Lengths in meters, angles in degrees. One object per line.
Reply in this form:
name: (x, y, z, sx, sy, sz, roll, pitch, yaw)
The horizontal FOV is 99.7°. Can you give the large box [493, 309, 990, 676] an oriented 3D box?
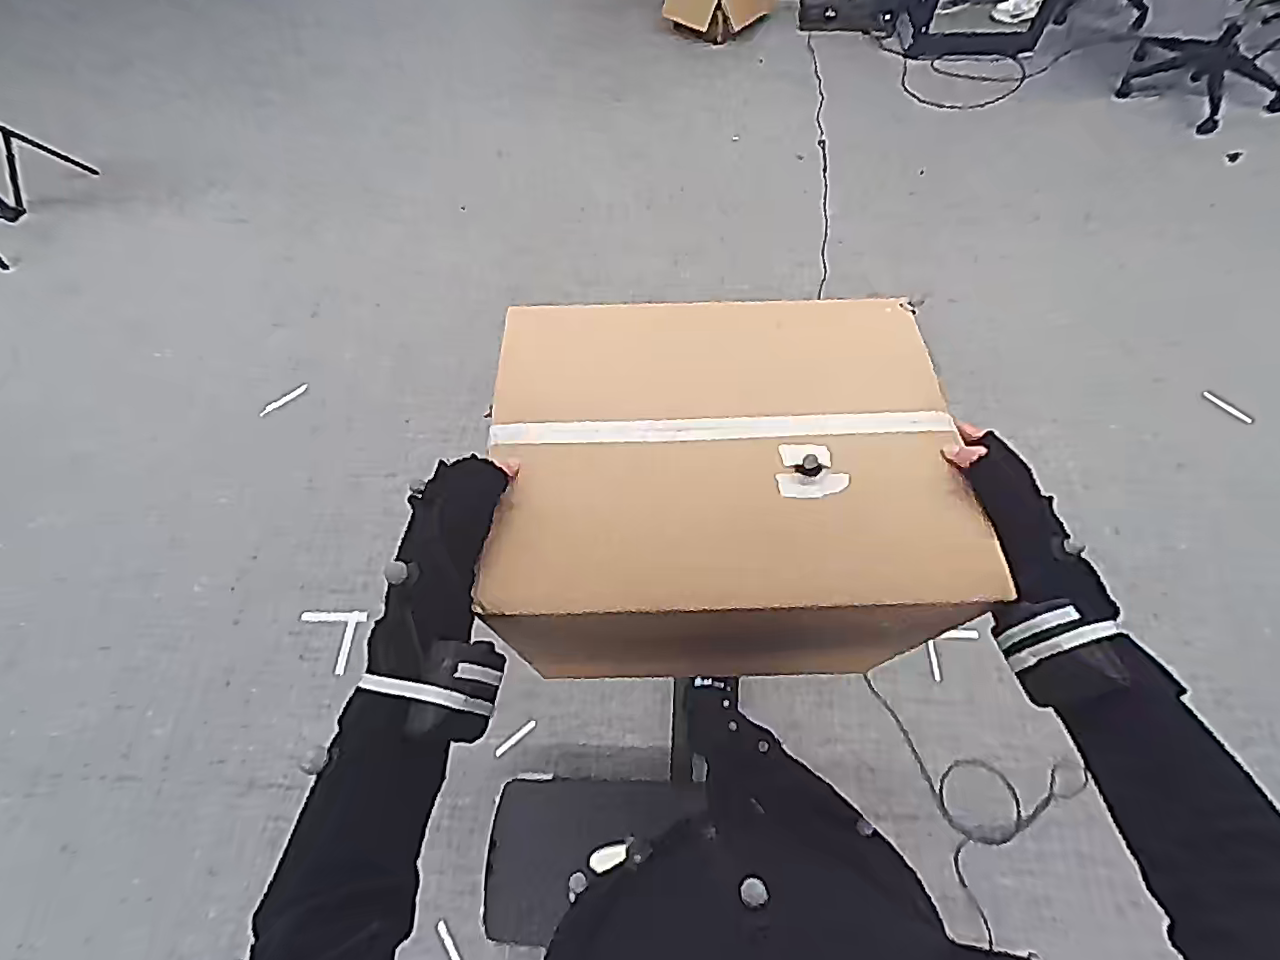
large box: (0.075, 0.032, 0.625, 0.408, 0.320, 0.320, -2, 61, 0)
